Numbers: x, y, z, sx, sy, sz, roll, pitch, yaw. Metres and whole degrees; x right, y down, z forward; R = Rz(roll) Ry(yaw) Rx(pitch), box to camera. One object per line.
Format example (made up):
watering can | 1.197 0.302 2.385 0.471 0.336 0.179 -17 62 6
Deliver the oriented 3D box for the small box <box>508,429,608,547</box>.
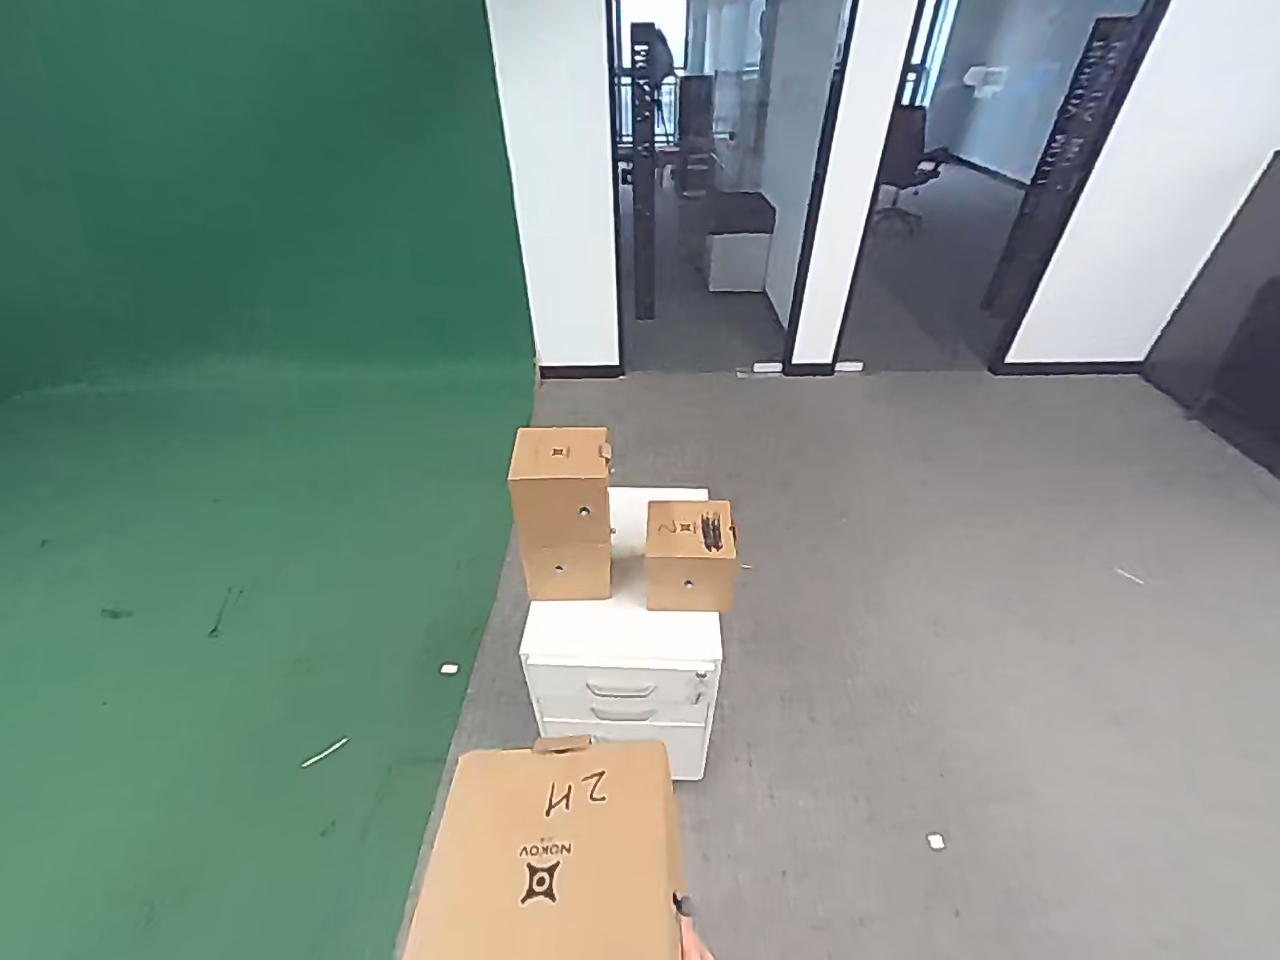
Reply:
small box | -0.150 0.016 1.055 0.179 0.176 0.168 -2 39 -3

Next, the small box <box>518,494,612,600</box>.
small box | -0.152 0.143 1.158 0.179 0.176 0.168 -1 40 -2

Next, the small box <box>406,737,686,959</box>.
small box | -0.052 0.327 0.411 0.168 0.176 0.179 -5 33 4
